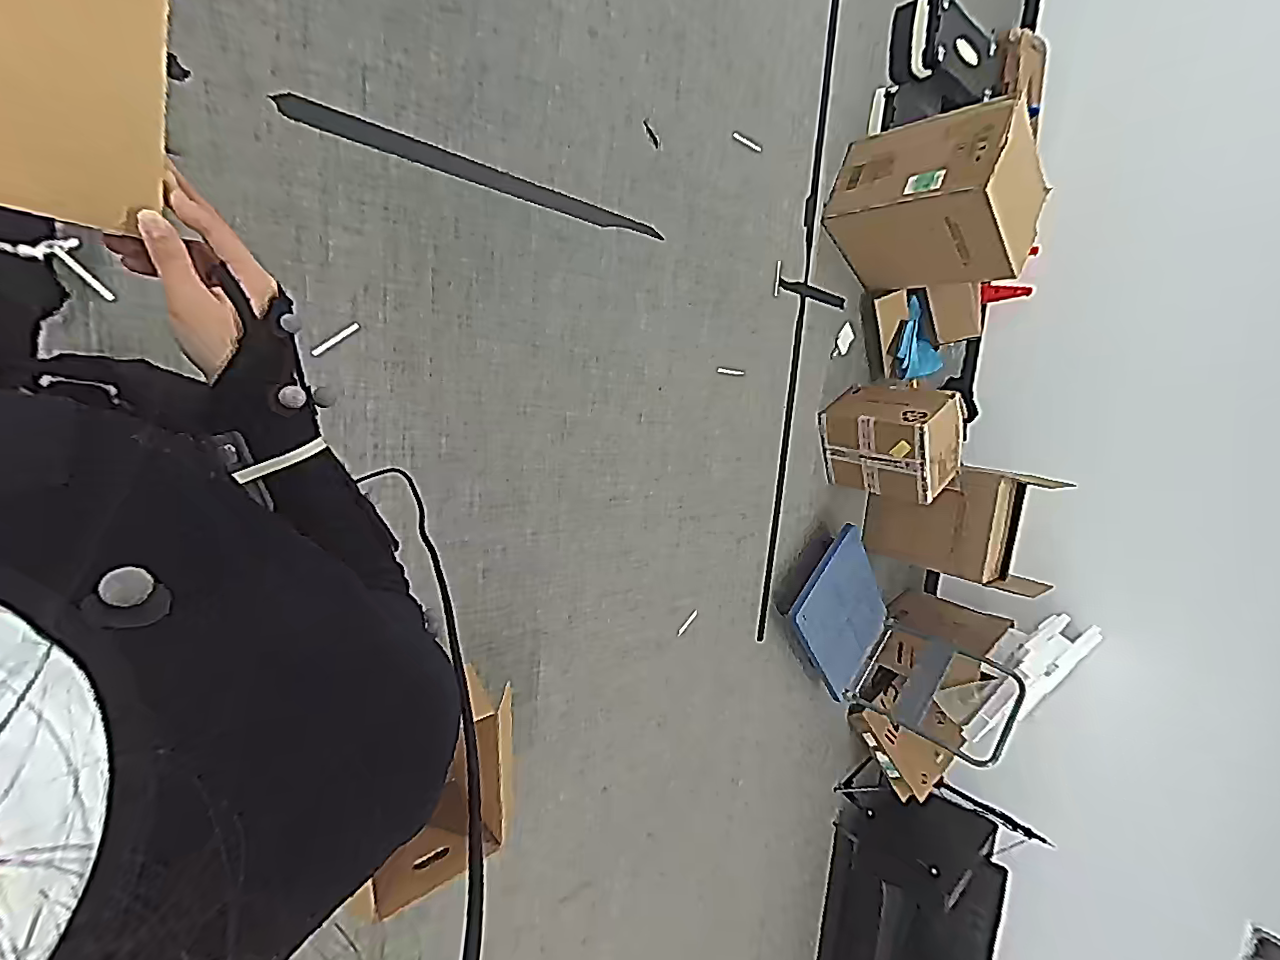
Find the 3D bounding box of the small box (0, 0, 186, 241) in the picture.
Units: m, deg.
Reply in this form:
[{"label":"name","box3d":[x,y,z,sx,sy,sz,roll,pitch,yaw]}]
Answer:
[{"label":"small box","box3d":[-0.378,-0.254,0.300,0.179,0.176,0.168,0,115,-45]}]
